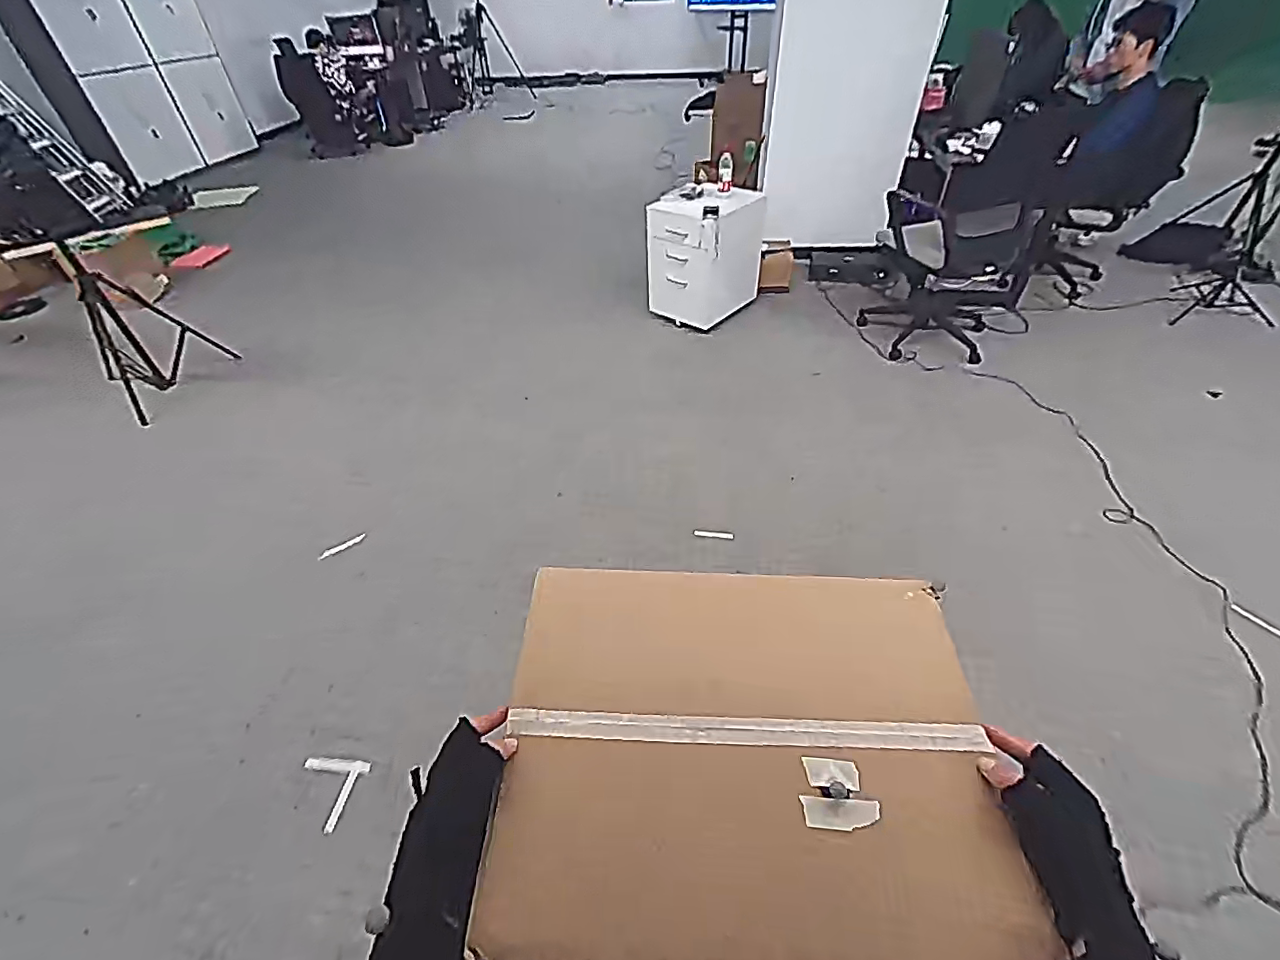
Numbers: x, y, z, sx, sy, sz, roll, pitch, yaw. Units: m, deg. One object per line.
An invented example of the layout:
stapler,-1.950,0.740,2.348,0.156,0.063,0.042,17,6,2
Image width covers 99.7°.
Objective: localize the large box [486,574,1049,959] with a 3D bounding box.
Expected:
large box,0.090,0.319,0.585,0.408,0.320,0.320,2,48,2
